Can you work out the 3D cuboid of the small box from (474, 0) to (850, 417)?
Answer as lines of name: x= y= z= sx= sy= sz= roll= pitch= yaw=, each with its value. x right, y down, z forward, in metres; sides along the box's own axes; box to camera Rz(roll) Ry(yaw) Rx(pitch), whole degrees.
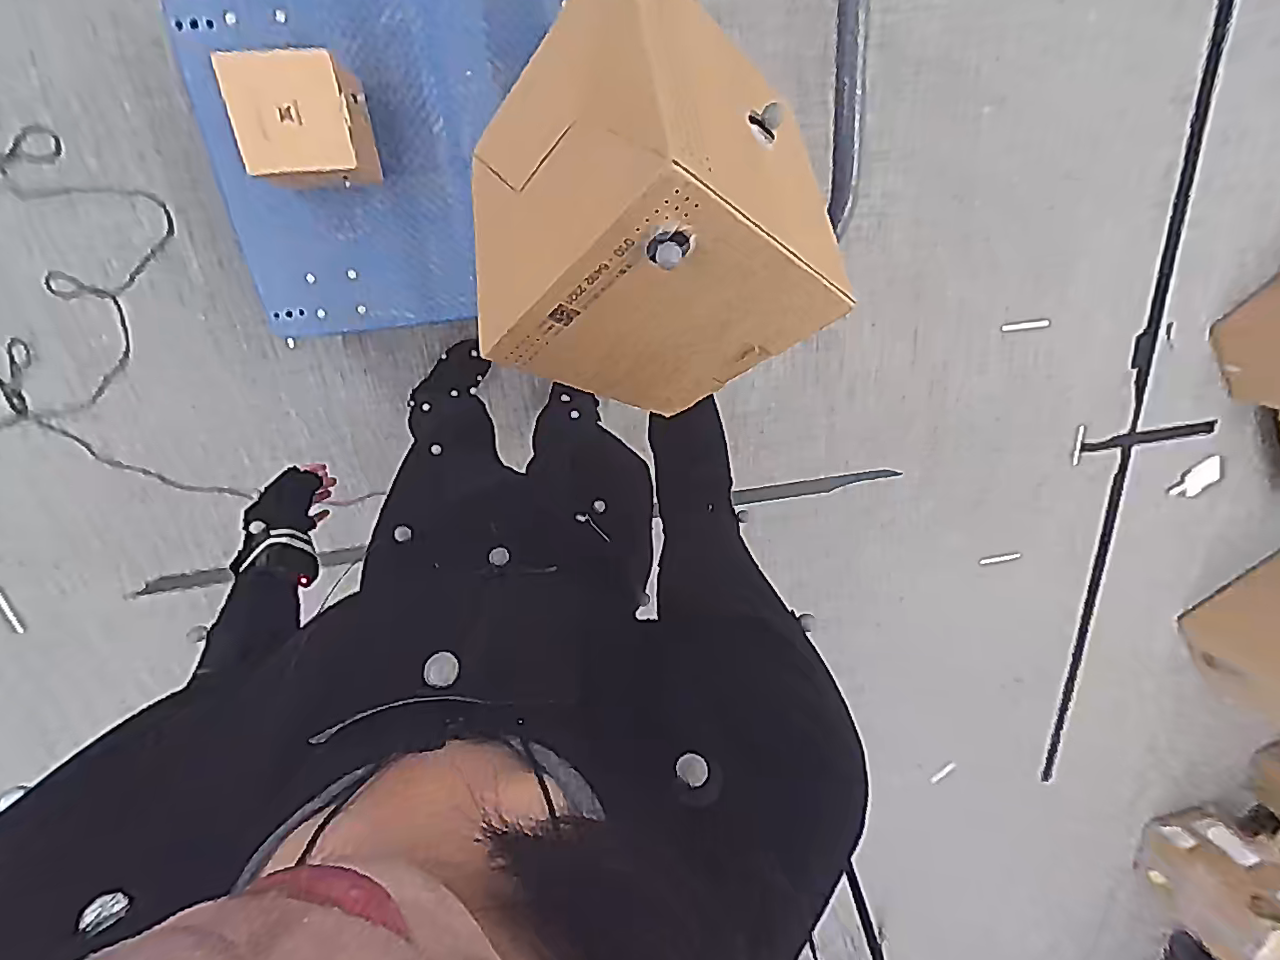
small box: x=0.005 y=-0.168 z=0.354 sx=0.176 sy=0.179 sz=0.168 roll=12 pitch=152 yaw=-43

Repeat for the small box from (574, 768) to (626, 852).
small box: x=-0.140 y=1.137 z=1.872 sx=0.168 sy=0.176 sz=0.179 roll=-5 pitch=111 yaw=-8

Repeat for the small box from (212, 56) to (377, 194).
small box: x=-0.578 y=-0.606 z=0.939 sx=0.179 sy=0.176 sz=0.168 roll=-9 pitch=110 yaw=-7
